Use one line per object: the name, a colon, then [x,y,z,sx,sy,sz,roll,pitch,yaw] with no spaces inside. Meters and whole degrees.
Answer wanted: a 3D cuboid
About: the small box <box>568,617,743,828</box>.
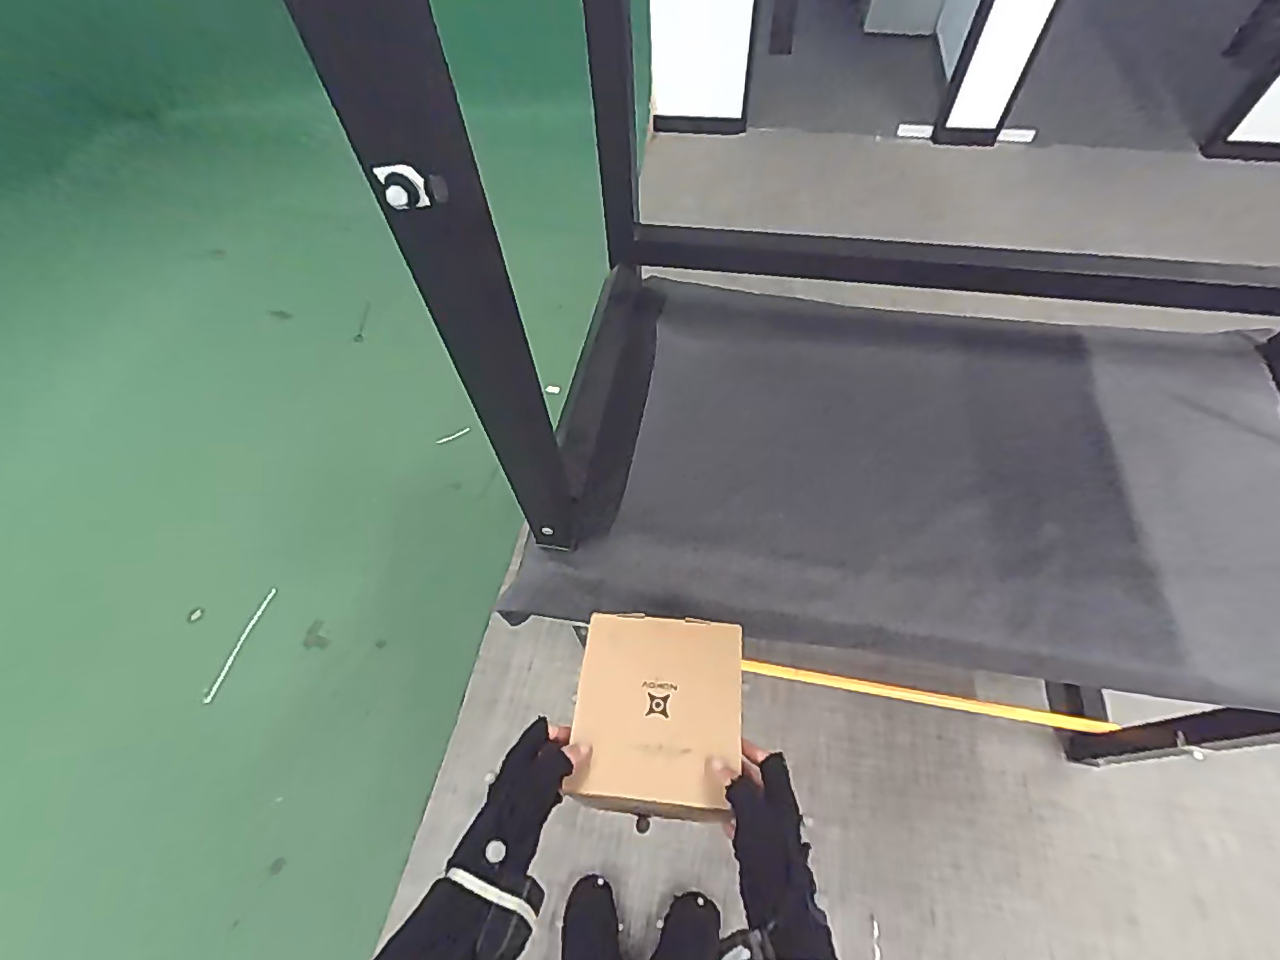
small box: [0.027,0.275,0.610,0.168,0.176,0.179,2,54,7]
